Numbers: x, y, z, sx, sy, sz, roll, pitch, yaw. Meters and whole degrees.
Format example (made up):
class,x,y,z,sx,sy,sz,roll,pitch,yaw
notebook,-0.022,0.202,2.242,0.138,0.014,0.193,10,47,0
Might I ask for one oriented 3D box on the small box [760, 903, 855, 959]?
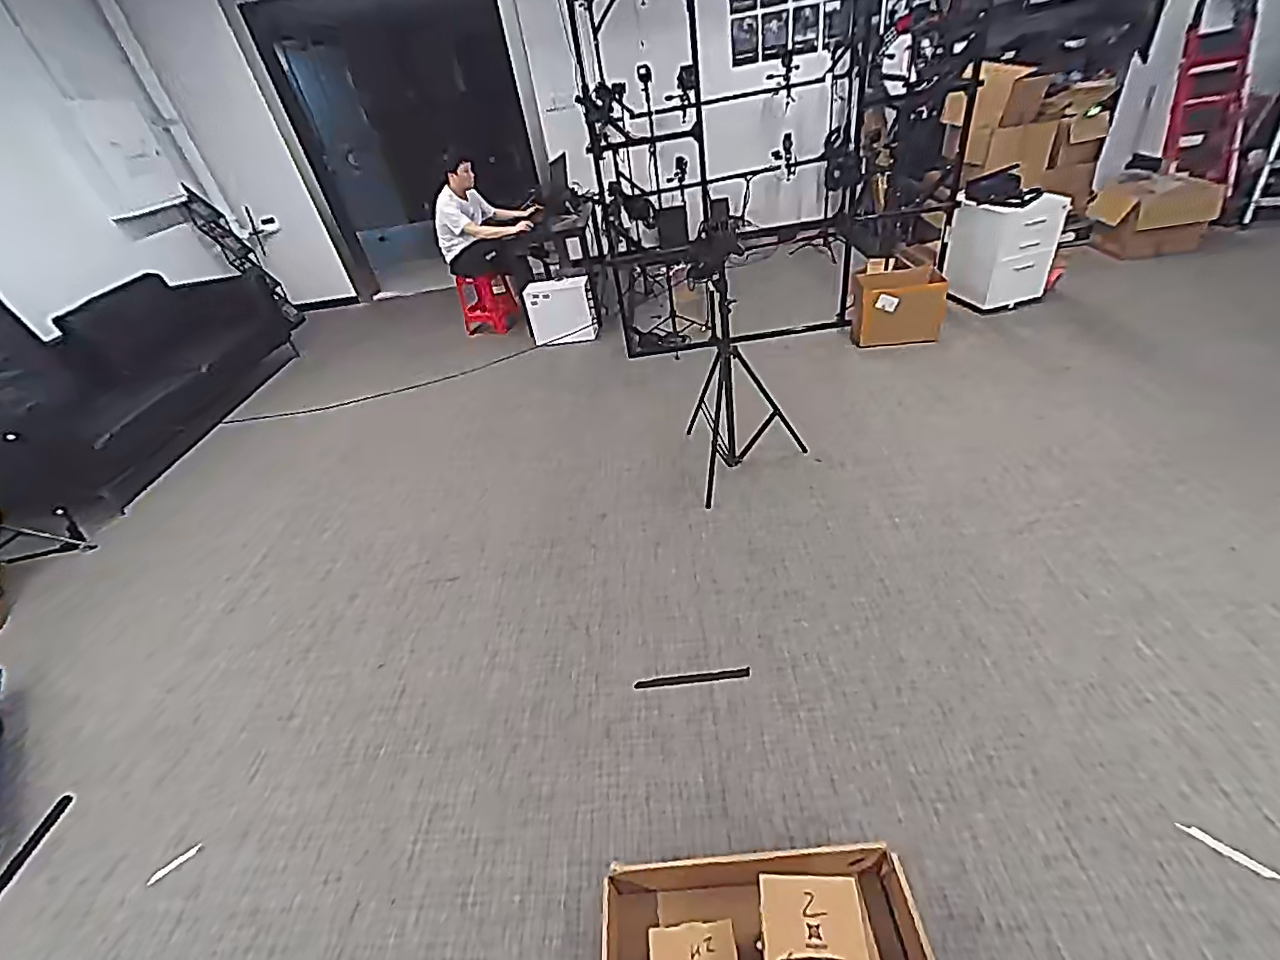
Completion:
class,x,y,z,sx,sy,sz,roll,pitch,yaw
small box,0.323,0.946,1.037,0.168,0.176,0.179,-6,38,9

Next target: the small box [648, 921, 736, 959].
class,x,y,z,sx,sy,sz,roll,pitch,yaw
small box,0.109,0.982,1.033,0.168,0.176,0.179,-7,37,1
